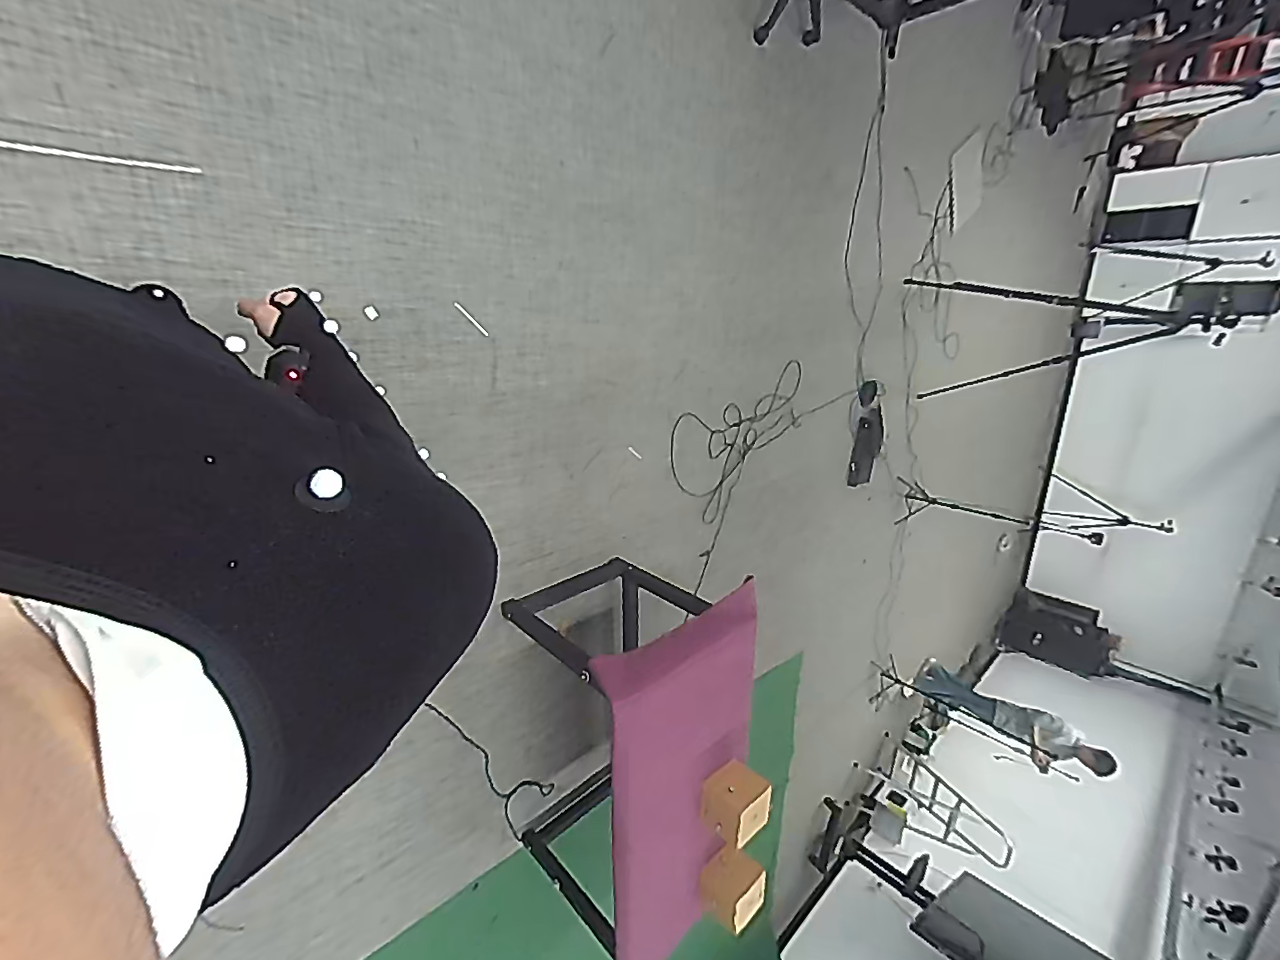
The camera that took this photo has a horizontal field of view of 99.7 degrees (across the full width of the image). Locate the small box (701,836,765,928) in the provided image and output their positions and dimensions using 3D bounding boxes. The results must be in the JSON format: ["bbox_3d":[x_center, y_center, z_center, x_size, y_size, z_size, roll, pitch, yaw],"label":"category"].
[{"bbox_3d":[0.344,1.492,2.018,0.179,0.176,0.168,-15,113,-39],"label":"small box"}]

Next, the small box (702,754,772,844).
[{"bbox_3d":[0.335,1.105,1.888,0.179,0.176,0.168,-12,112,-41],"label":"small box"}]
